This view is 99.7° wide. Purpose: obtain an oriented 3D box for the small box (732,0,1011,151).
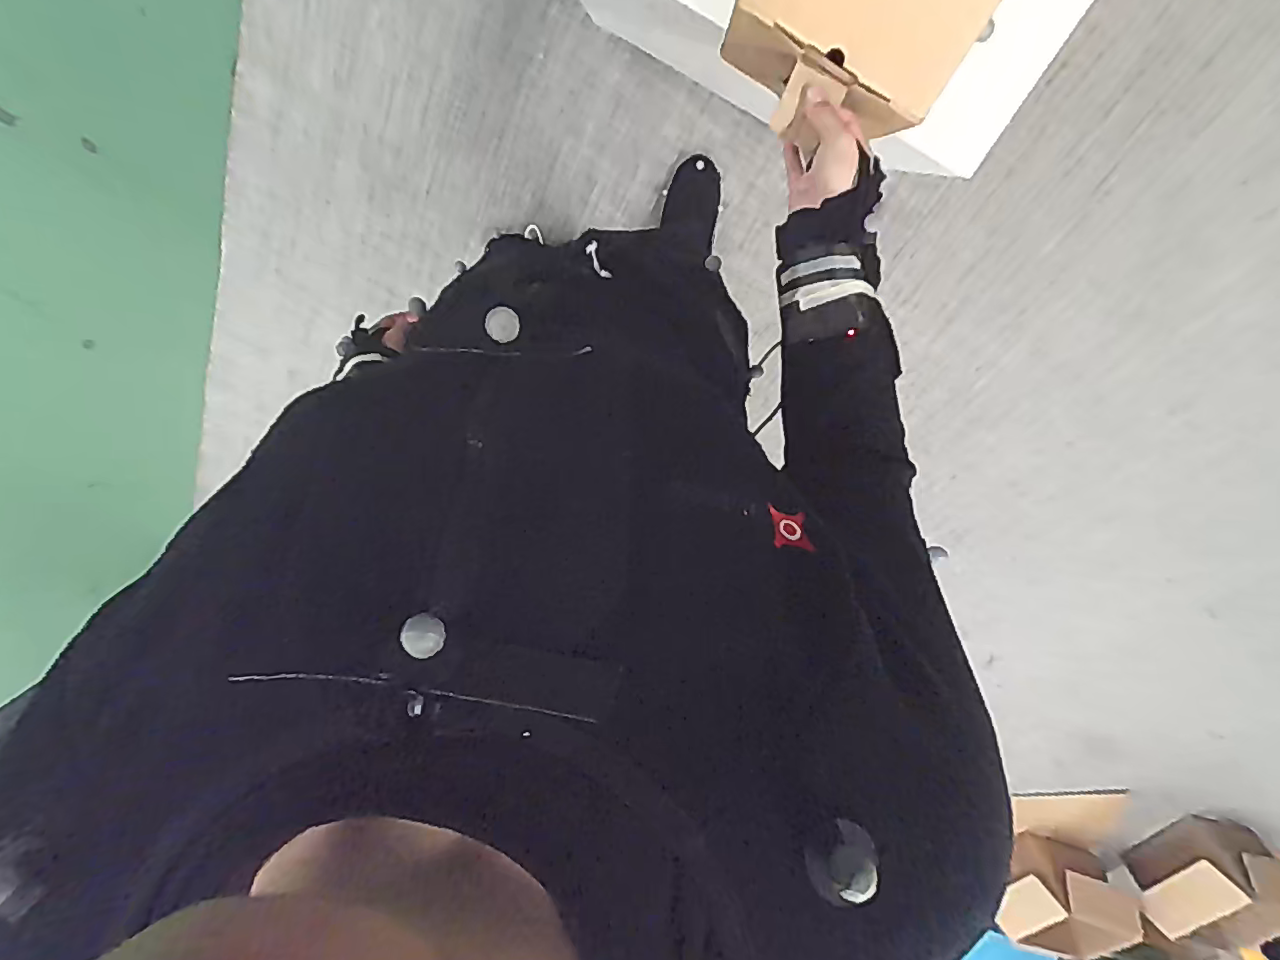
[{"bbox_3d":[0.186,-0.399,0.435,0.168,0.176,0.179,26,116,-9],"label":"small box"}]
